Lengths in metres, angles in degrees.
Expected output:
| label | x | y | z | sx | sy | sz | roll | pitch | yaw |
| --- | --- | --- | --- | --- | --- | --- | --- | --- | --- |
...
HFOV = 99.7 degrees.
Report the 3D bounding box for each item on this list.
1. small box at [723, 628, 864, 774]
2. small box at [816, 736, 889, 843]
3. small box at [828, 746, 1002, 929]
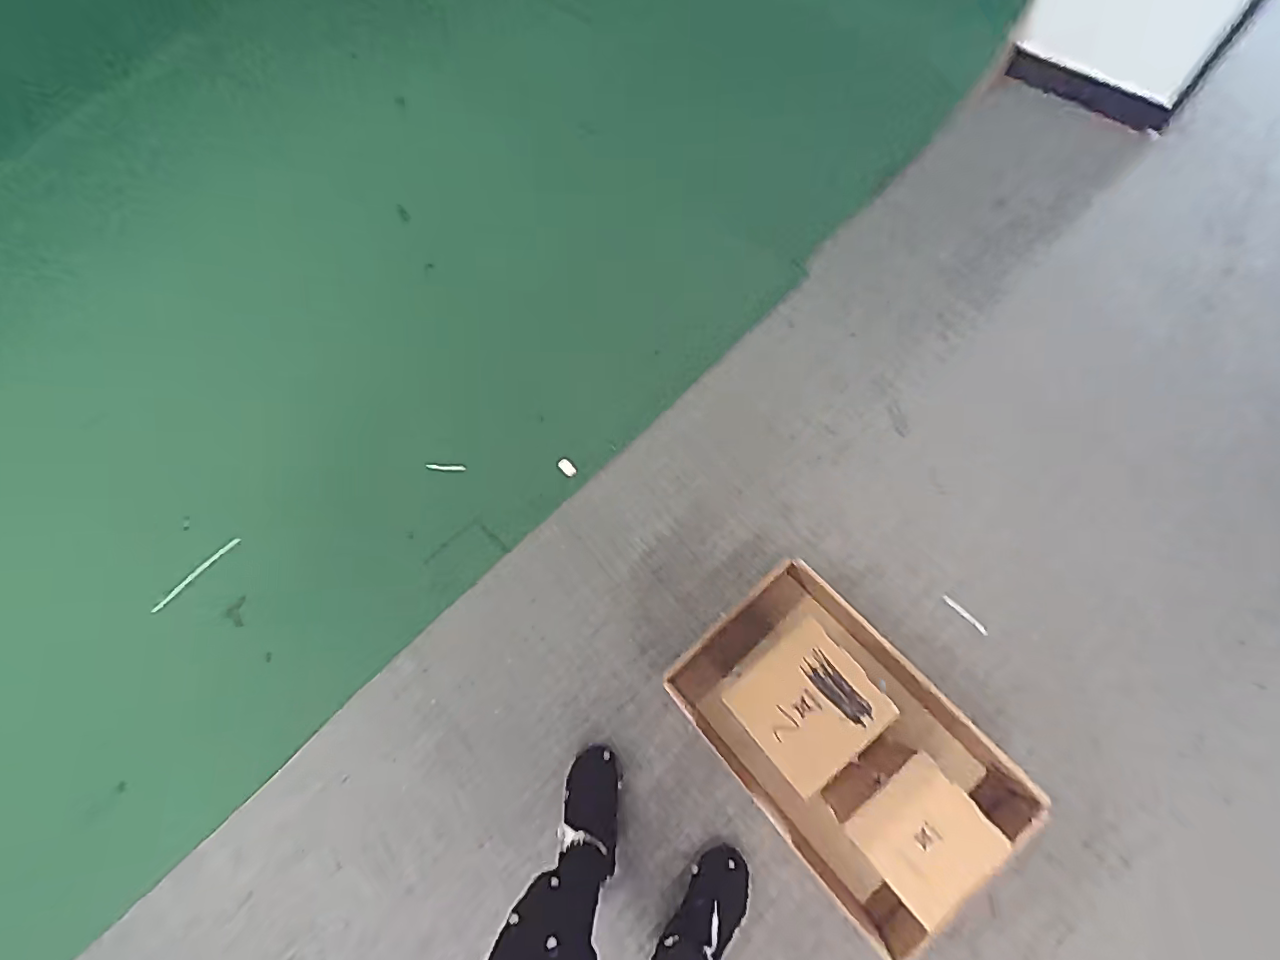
| label | x | y | z | sx | sy | sz | roll | pitch | yaw |
| --- | --- | --- | --- | --- | --- | --- | --- | --- | --- |
| small box | 0.264 | 0.390 | 0.979 | 0.179 | 0.176 | 0.168 | -37 | 69 | -5 |
| small box | 0.460 | 0.625 | 1.042 | 0.179 | 0.176 | 0.168 | -42 | 69 | -6 |
| small box | 0.434 | 0.567 | 0.891 | 0.179 | 0.176 | 0.168 | -40 | 67 | -5 |
